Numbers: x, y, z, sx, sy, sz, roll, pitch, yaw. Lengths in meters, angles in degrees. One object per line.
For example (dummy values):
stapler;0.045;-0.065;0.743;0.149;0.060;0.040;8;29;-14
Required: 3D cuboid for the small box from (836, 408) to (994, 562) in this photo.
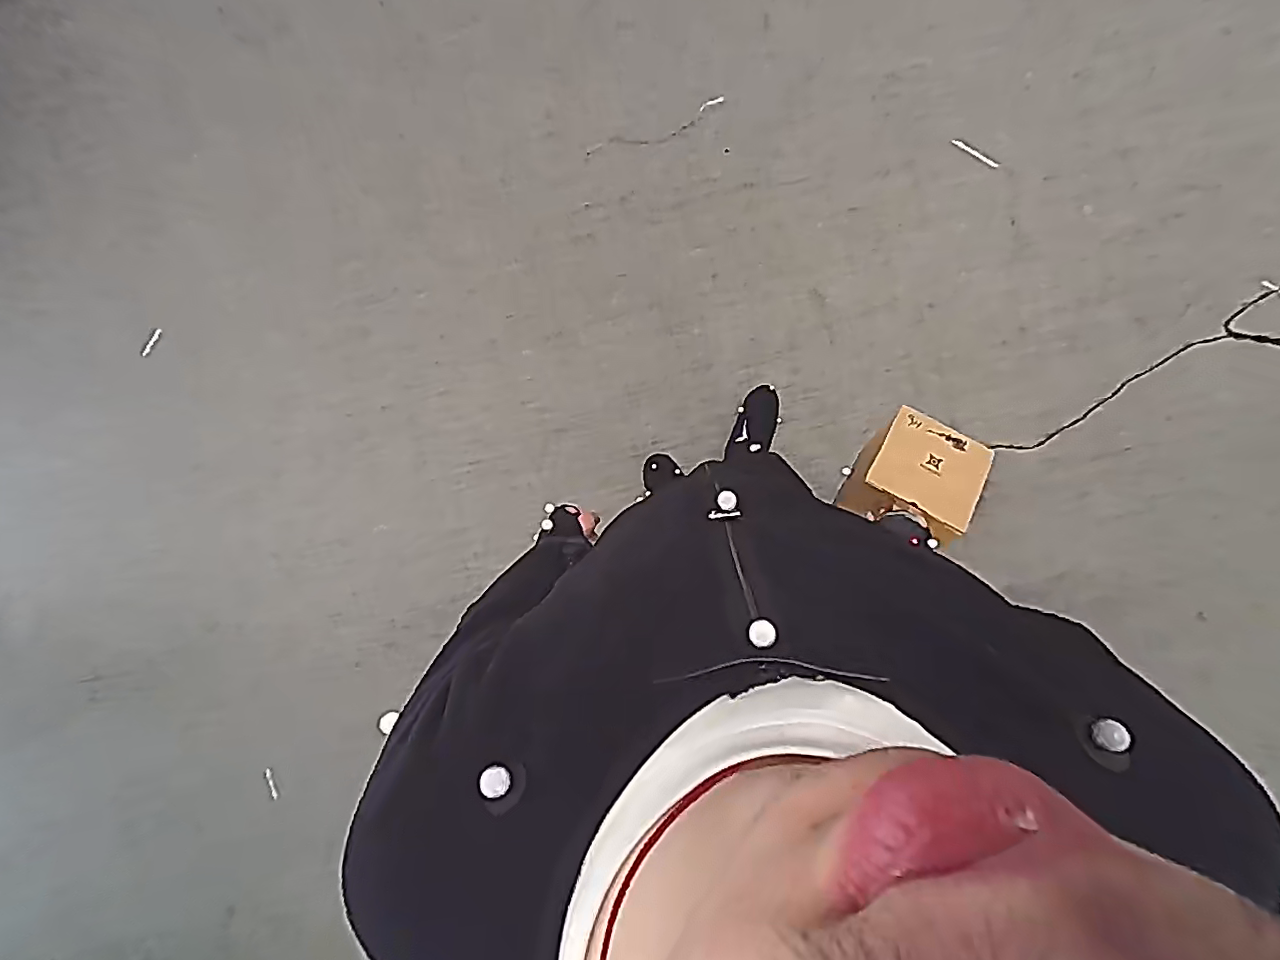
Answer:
small box;0.462;0.016;0.936;0.168;0.176;0.179;29;66;12
